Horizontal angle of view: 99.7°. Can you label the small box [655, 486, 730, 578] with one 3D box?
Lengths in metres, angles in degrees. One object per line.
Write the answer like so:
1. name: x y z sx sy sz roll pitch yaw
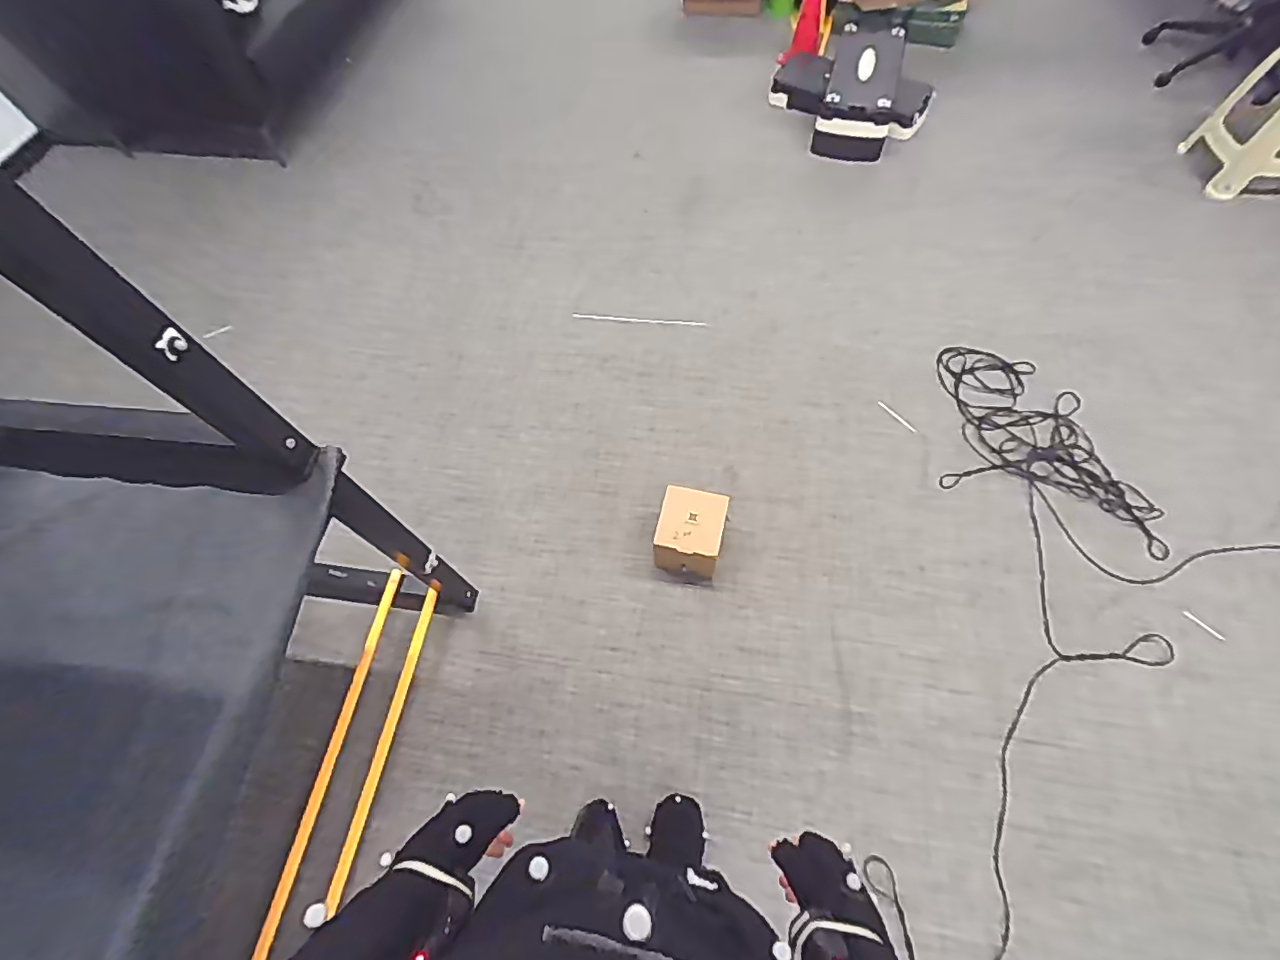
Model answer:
1. small box: 0.139 0.143 1.449 0.168 0.176 0.179 11 64 10
